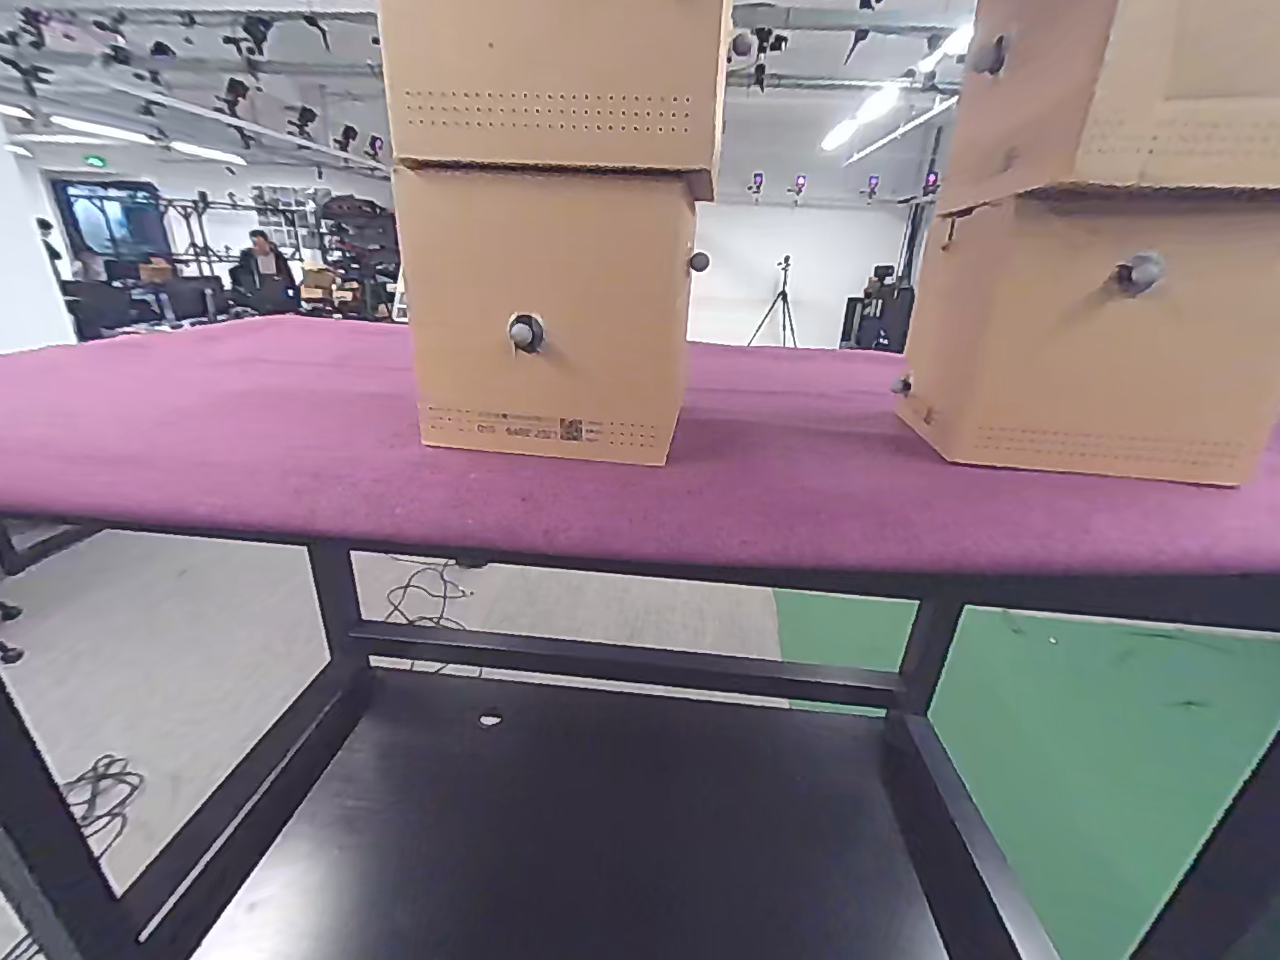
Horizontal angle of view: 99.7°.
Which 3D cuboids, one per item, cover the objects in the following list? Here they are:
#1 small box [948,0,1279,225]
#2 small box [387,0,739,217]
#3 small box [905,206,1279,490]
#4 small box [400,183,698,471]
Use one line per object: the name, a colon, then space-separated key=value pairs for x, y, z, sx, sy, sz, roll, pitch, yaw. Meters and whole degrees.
small box: x=0.316 y=-0.247 z=0.334 sx=0.179 sy=0.176 sz=0.168 roll=4 pitch=21 yaw=6
small box: x=-0.031 y=-0.260 z=0.331 sx=0.179 sy=0.176 sz=0.168 roll=5 pitch=21 yaw=6
small box: x=0.315 y=-0.100 z=0.405 sx=0.179 sy=0.176 sz=0.168 roll=6 pitch=21 yaw=9
small box: x=-0.048 y=-0.115 z=0.404 sx=0.168 sy=0.176 sz=0.179 roll=6 pitch=22 yaw=6
